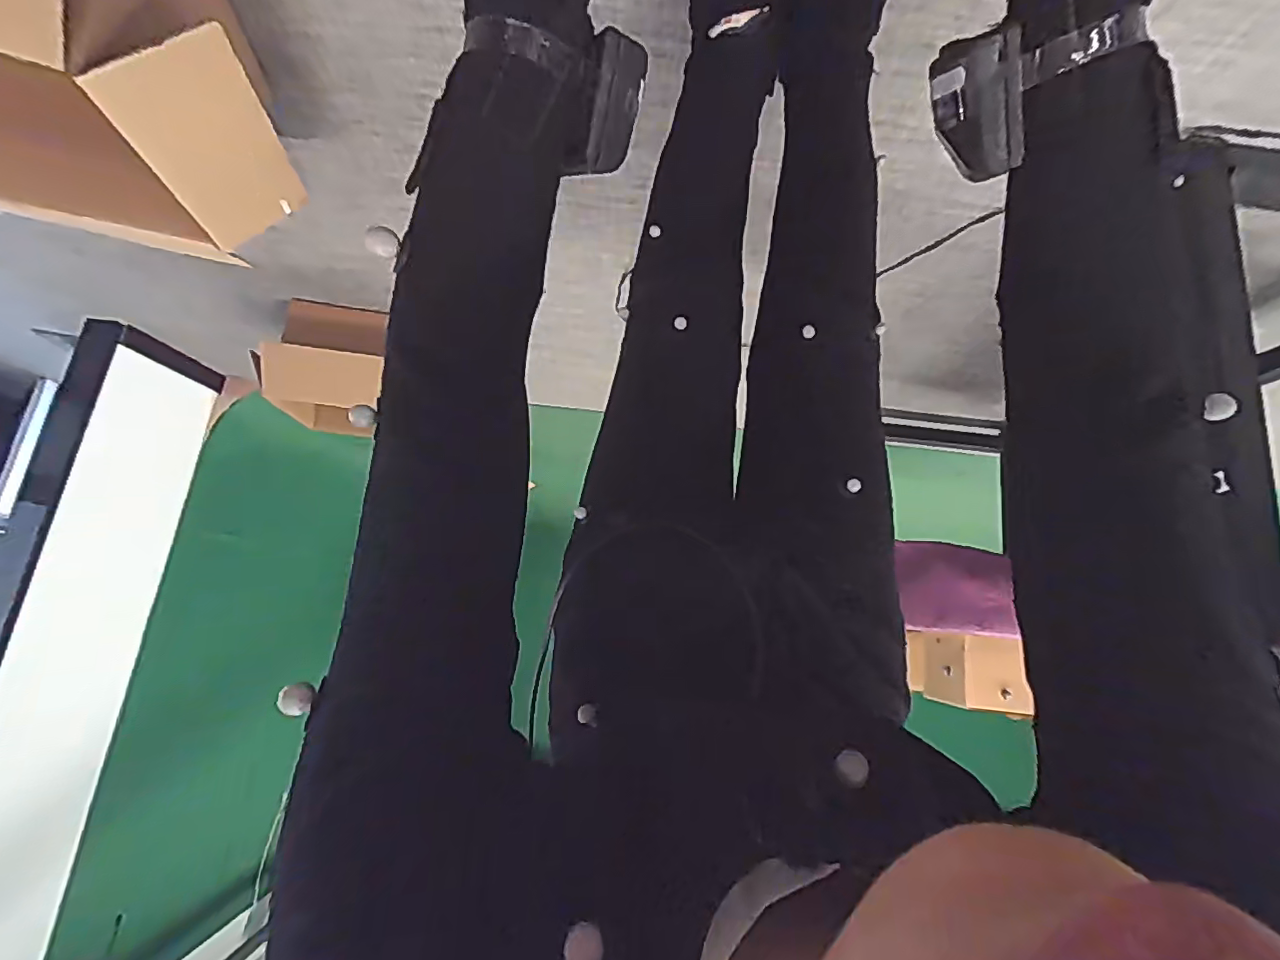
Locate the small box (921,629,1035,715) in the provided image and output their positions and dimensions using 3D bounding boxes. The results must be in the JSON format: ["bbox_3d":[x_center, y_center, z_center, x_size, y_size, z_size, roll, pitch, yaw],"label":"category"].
[{"bbox_3d":[0.813,0.458,1.314,0.179,0.176,0.168,8,166,-3],"label":"small box"}]
